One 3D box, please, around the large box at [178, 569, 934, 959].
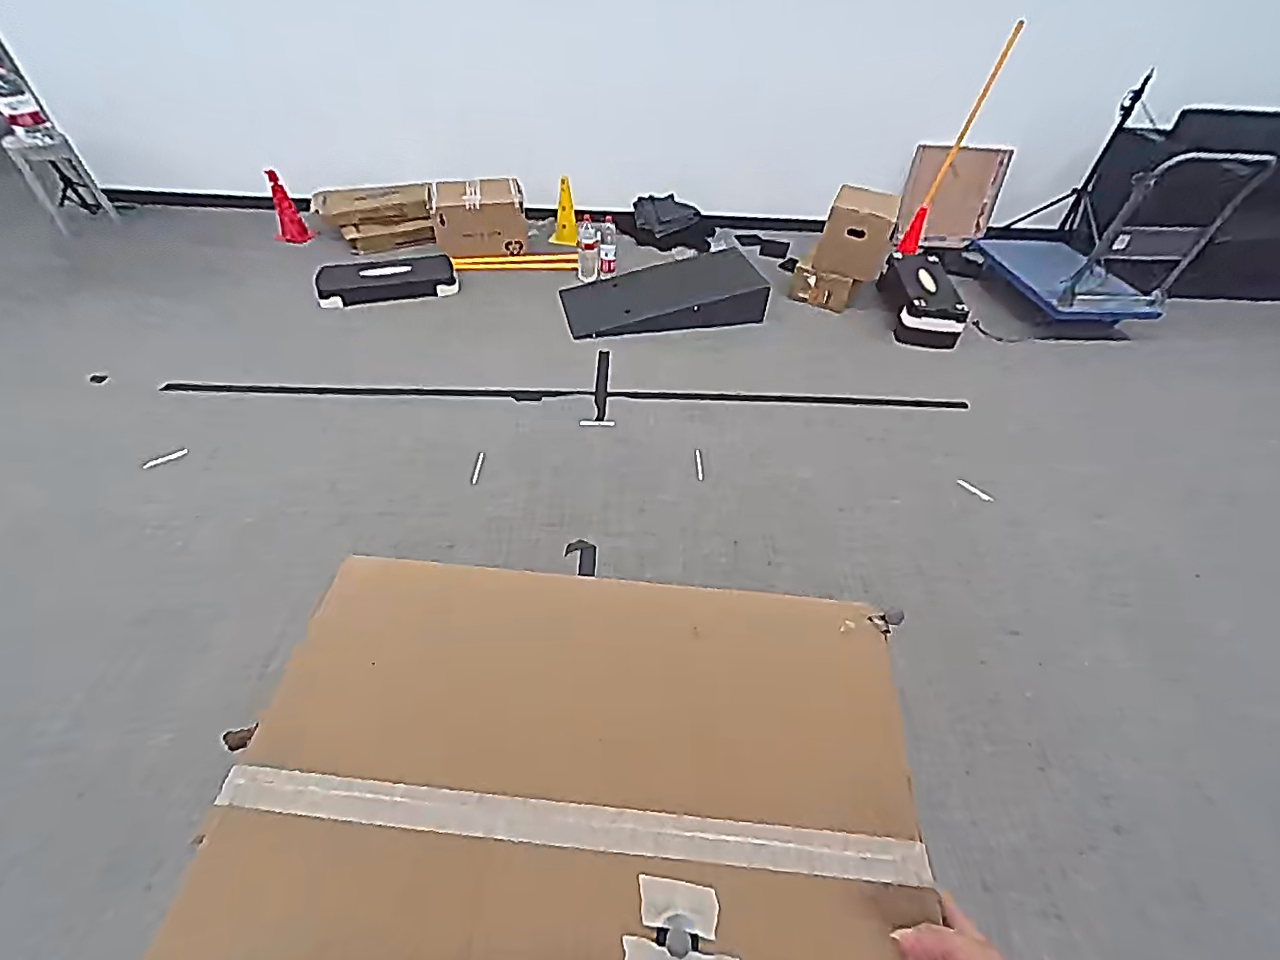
[{"bbox_3d":[-0.040,0.294,0.440,0.408,0.320,0.320,5,53,3],"label":"large box"}]
